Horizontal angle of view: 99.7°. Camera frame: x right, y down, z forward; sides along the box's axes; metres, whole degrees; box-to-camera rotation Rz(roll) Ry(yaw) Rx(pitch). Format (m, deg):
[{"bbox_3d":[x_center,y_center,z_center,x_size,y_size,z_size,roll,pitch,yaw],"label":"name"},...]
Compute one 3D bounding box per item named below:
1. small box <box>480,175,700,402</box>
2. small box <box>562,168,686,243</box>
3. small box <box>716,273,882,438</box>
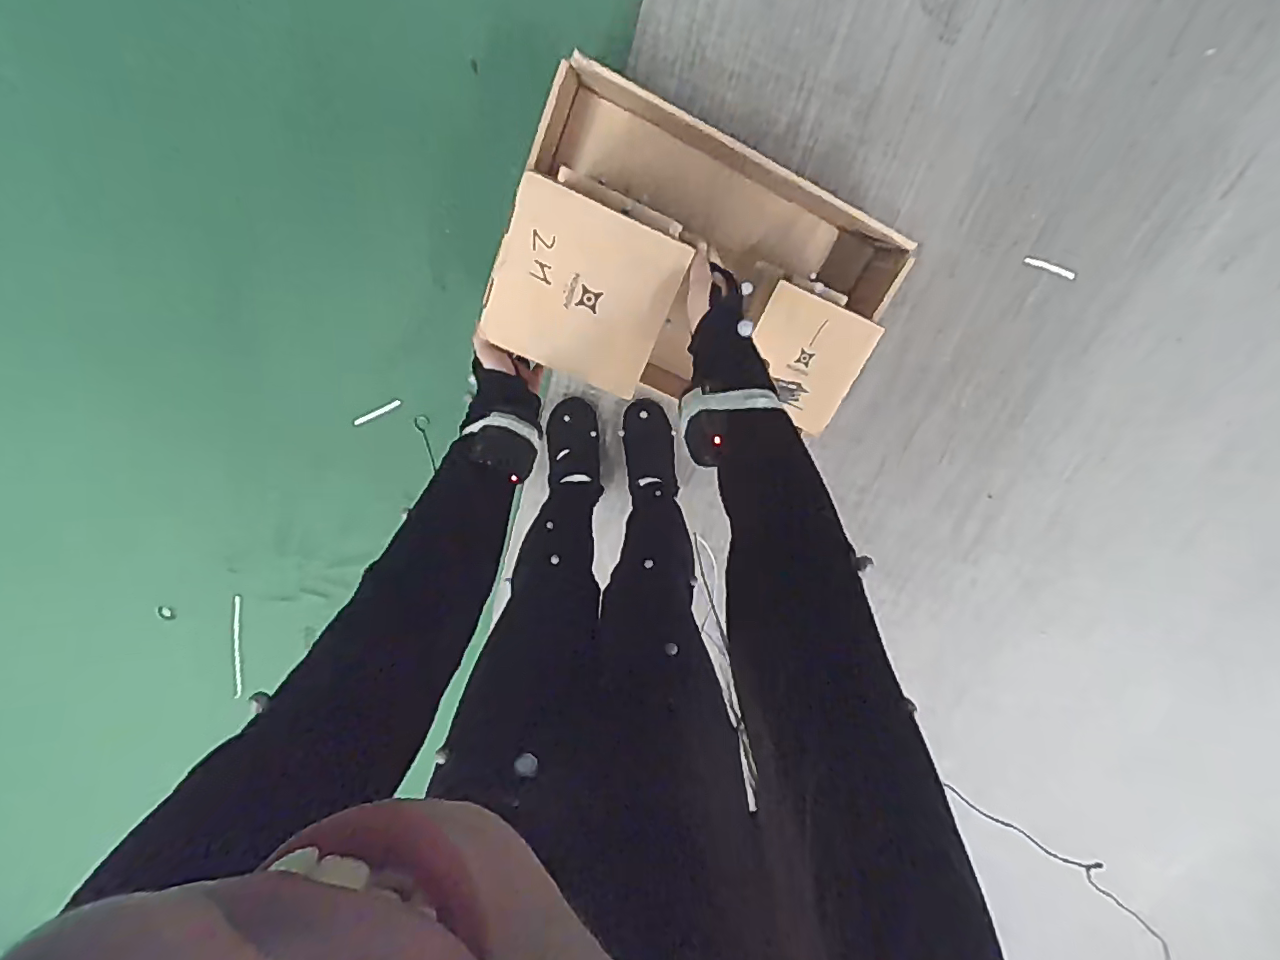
[{"bbox_3d":[-0.052,-0.216,0.607,0.179,0.176,0.168,23,114,-9],"label":"small box"},{"bbox_3d":[-0.052,-0.316,0.774,0.168,0.176,0.179,22,116,-11],"label":"small box"},{"bbox_3d":[0.226,-0.197,0.829,0.168,0.176,0.179,21,114,-9],"label":"small box"}]
